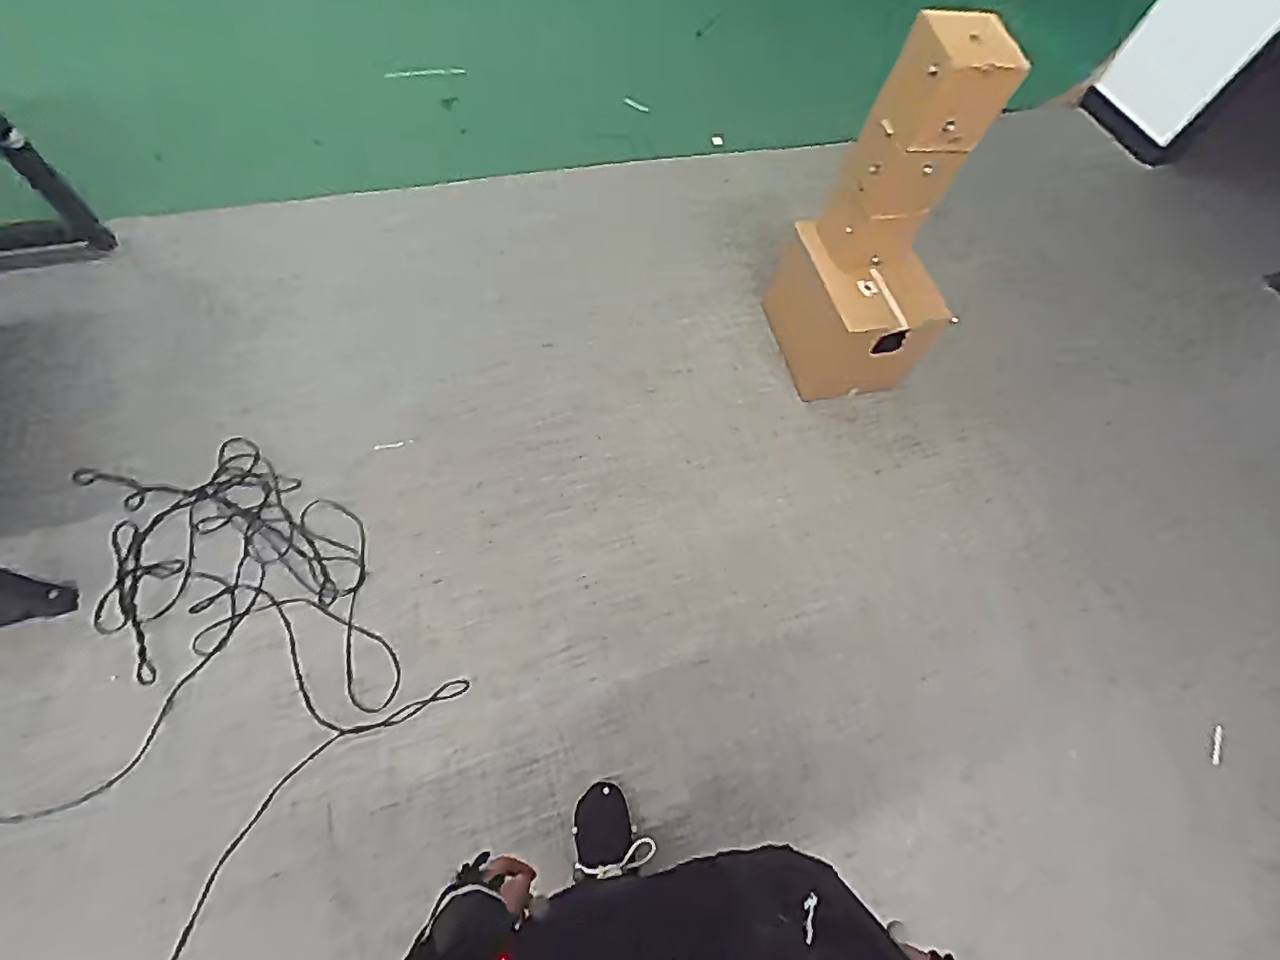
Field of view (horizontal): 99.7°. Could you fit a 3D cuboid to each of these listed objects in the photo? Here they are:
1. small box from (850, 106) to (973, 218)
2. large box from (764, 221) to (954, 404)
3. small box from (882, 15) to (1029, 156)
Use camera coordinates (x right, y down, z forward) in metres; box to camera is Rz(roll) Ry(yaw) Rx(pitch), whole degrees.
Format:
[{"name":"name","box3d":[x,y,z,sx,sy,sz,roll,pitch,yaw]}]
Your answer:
[{"name":"small box","box3d":[0.612,-0.732,1.253,0.179,0.176,0.168,-7,67,-11]},{"name":"large box","box3d":[0.610,-0.487,1.589,0.320,0.320,0.408,-10,67,-10]},{"name":"small box","box3d":[0.630,-0.801,1.107,0.168,0.176,0.179,-6,67,-10]}]
